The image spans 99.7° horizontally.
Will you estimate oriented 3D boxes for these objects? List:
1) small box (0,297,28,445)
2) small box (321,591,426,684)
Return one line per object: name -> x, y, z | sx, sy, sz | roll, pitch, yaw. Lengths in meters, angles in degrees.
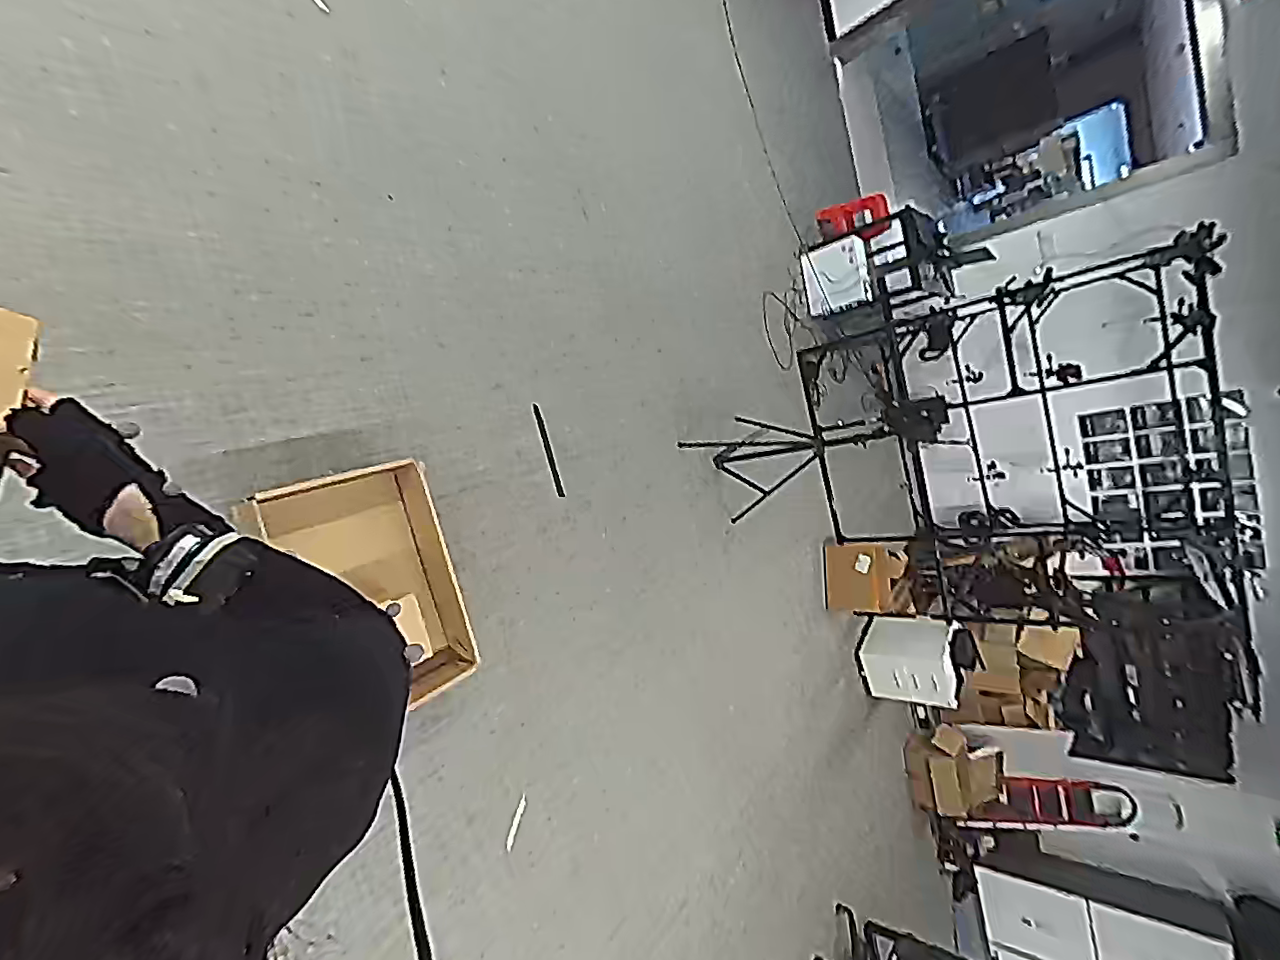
small box -> -0.652, -0.067, 0.437 | 0.179, 0.176, 0.168 | 14, 36, -53
small box -> -0.680, 0.394, 1.374 | 0.168, 0.176, 0.179 | -20, 97, -48
